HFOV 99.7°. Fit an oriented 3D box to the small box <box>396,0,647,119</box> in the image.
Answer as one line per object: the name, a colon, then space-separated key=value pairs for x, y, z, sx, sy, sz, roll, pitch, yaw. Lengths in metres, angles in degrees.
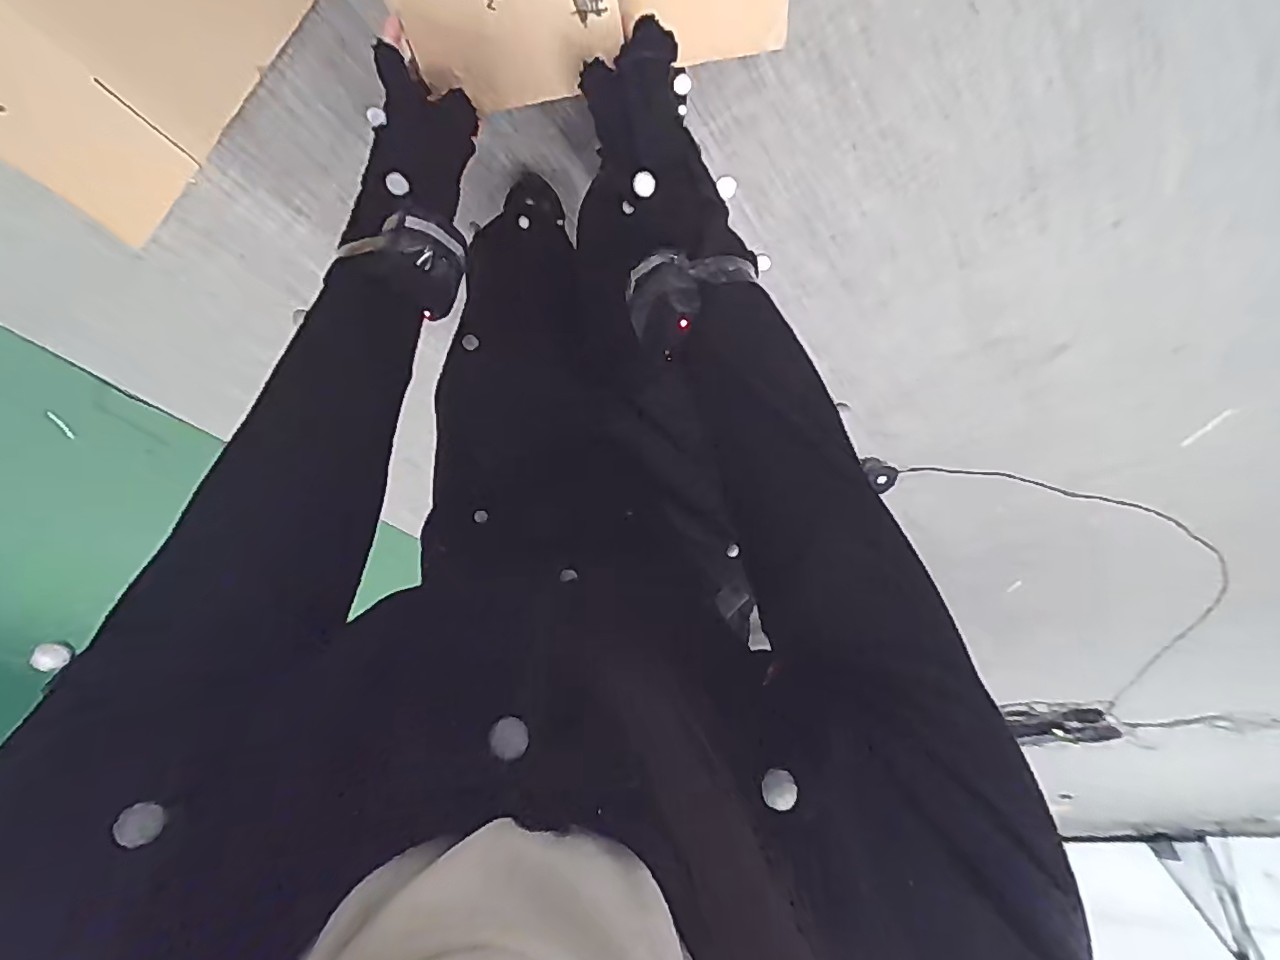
small box: x=-0.099 y=-0.438 z=0.455 sx=0.179 sy=0.176 sz=0.168 roll=-6 pitch=137 yaw=13
